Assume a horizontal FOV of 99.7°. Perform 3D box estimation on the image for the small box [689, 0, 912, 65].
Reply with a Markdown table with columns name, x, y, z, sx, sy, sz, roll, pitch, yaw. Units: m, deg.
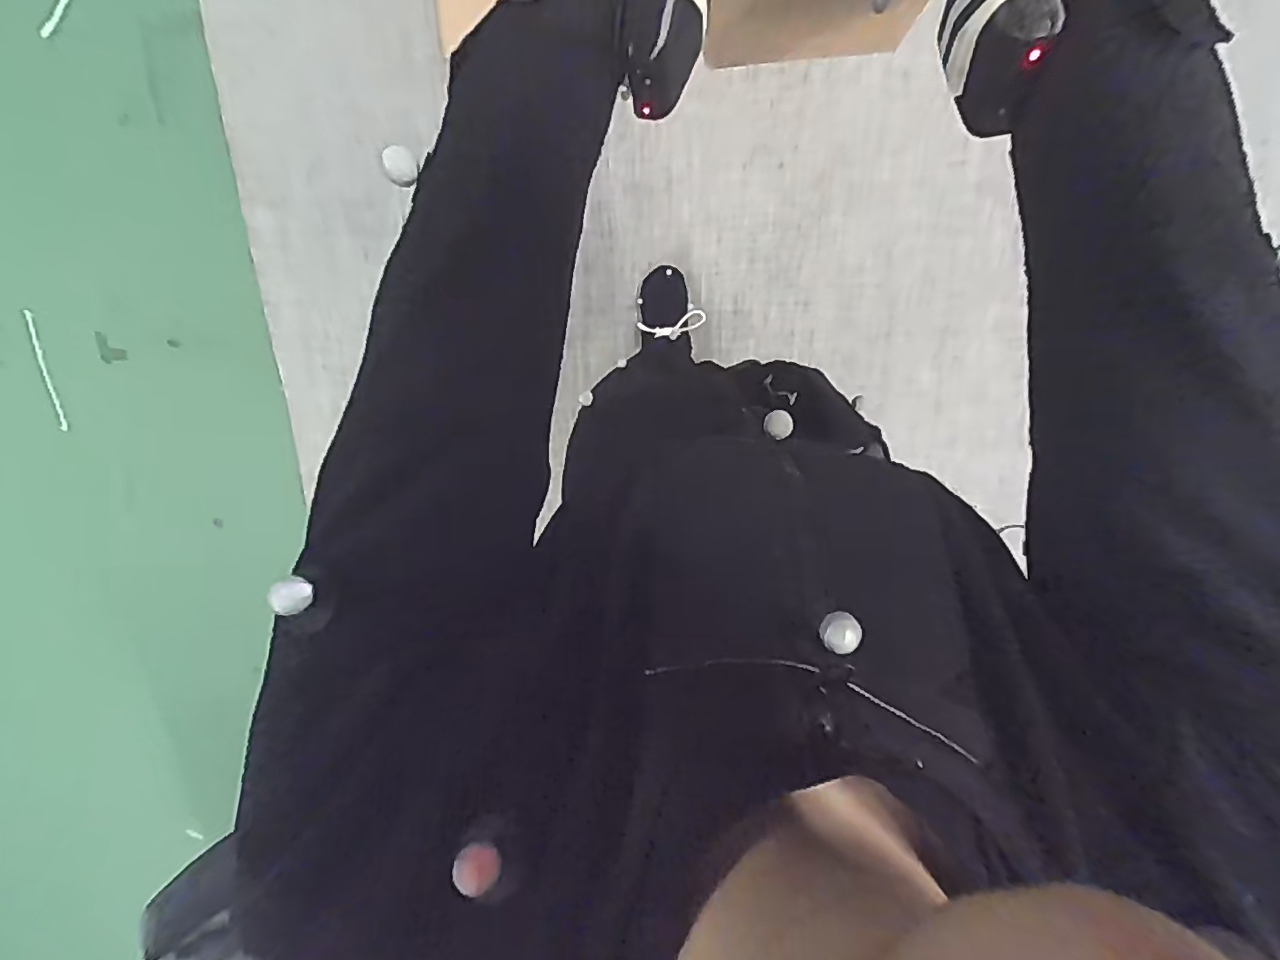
| name | x | y | z | sx | sy | sz | roll | pitch | yaw |
| --- | --- | --- | --- | --- | --- | --- | --- | --- | --- |
| small box | 0.123 | -0.433 | 0.395 | 0.179 | 0.176 | 0.168 | 2 | 111 | 10 |
